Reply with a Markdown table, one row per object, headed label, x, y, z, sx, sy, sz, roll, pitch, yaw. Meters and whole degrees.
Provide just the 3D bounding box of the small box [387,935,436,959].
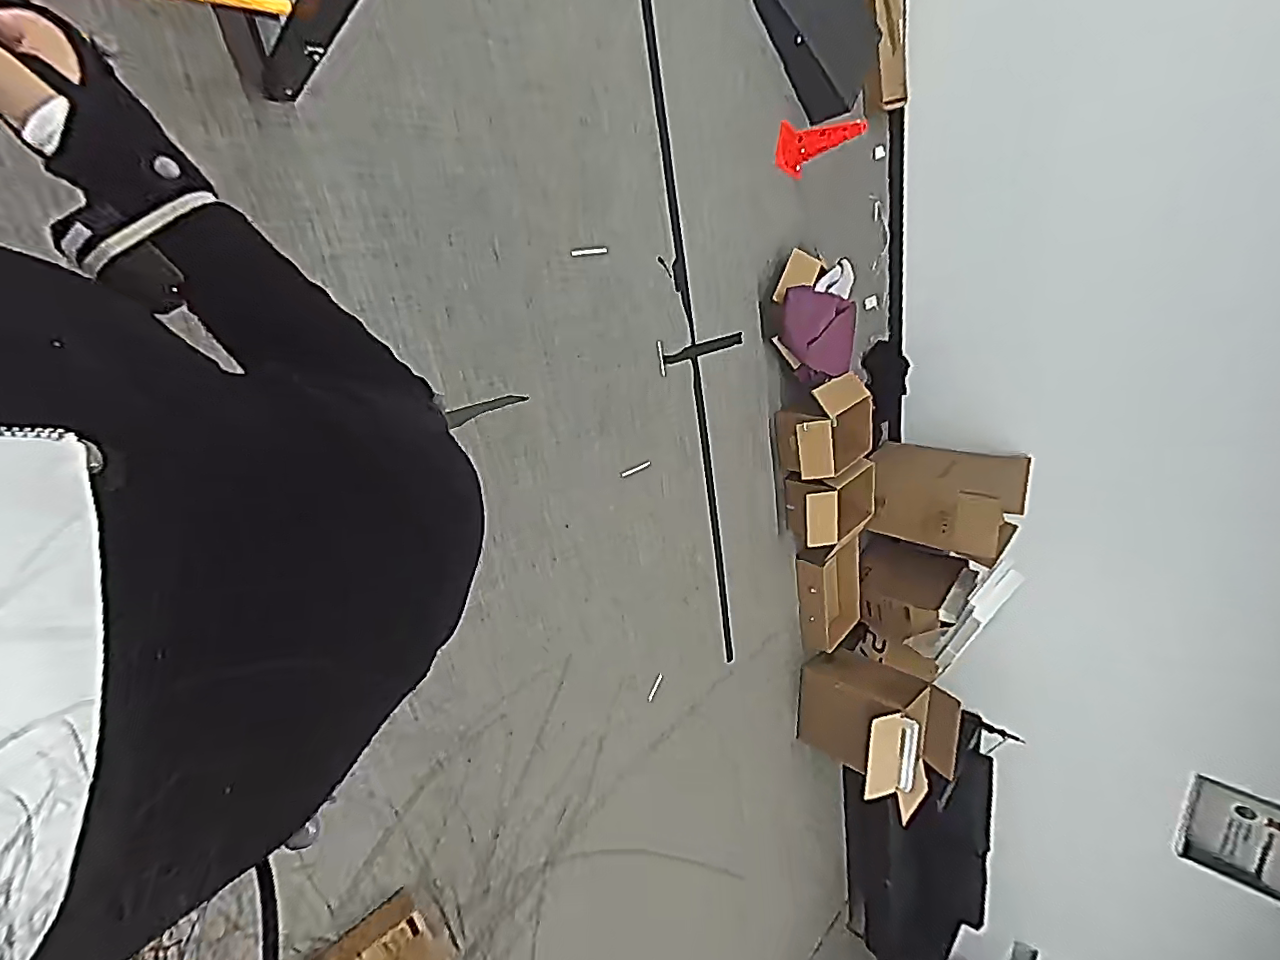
| label | x | y | z | sx | sy | sz | roll | pitch | yaw |
| --- | --- | --- | --- | --- | --- | --- | --- | --- | --- |
| small box | -0.658 | 1.486 | 1.564 | 0.168 | 0.176 | 0.179 | -27 | 117 | -37 |
